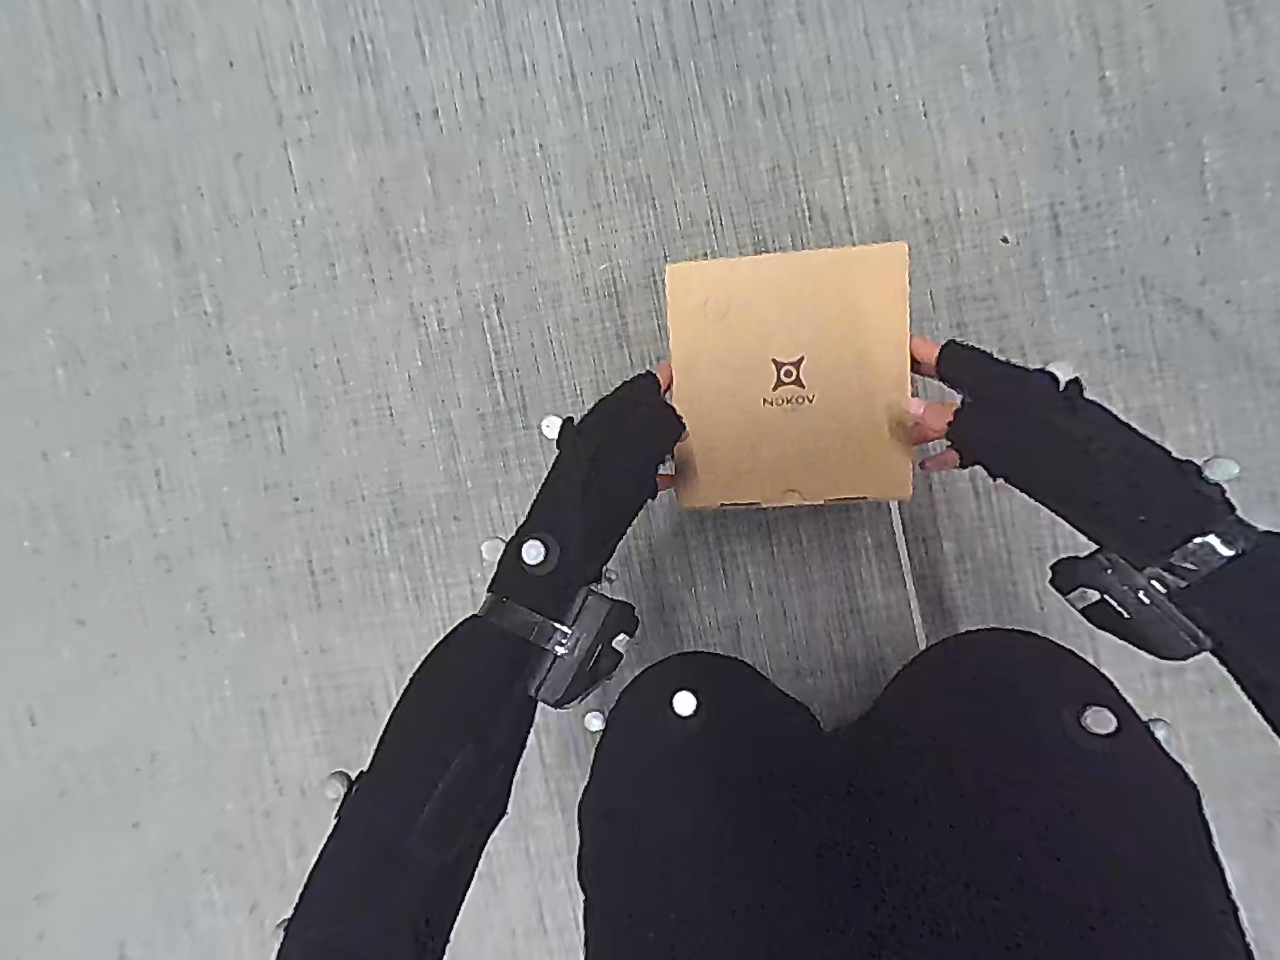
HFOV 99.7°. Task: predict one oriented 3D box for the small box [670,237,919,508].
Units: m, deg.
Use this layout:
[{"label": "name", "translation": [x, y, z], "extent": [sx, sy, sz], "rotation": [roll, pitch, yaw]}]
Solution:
[{"label": "small box", "translation": [0.110, -0.077, 0.446], "extent": [0.168, 0.176, 0.179], "rotation": [-3, 96, 5]}]
